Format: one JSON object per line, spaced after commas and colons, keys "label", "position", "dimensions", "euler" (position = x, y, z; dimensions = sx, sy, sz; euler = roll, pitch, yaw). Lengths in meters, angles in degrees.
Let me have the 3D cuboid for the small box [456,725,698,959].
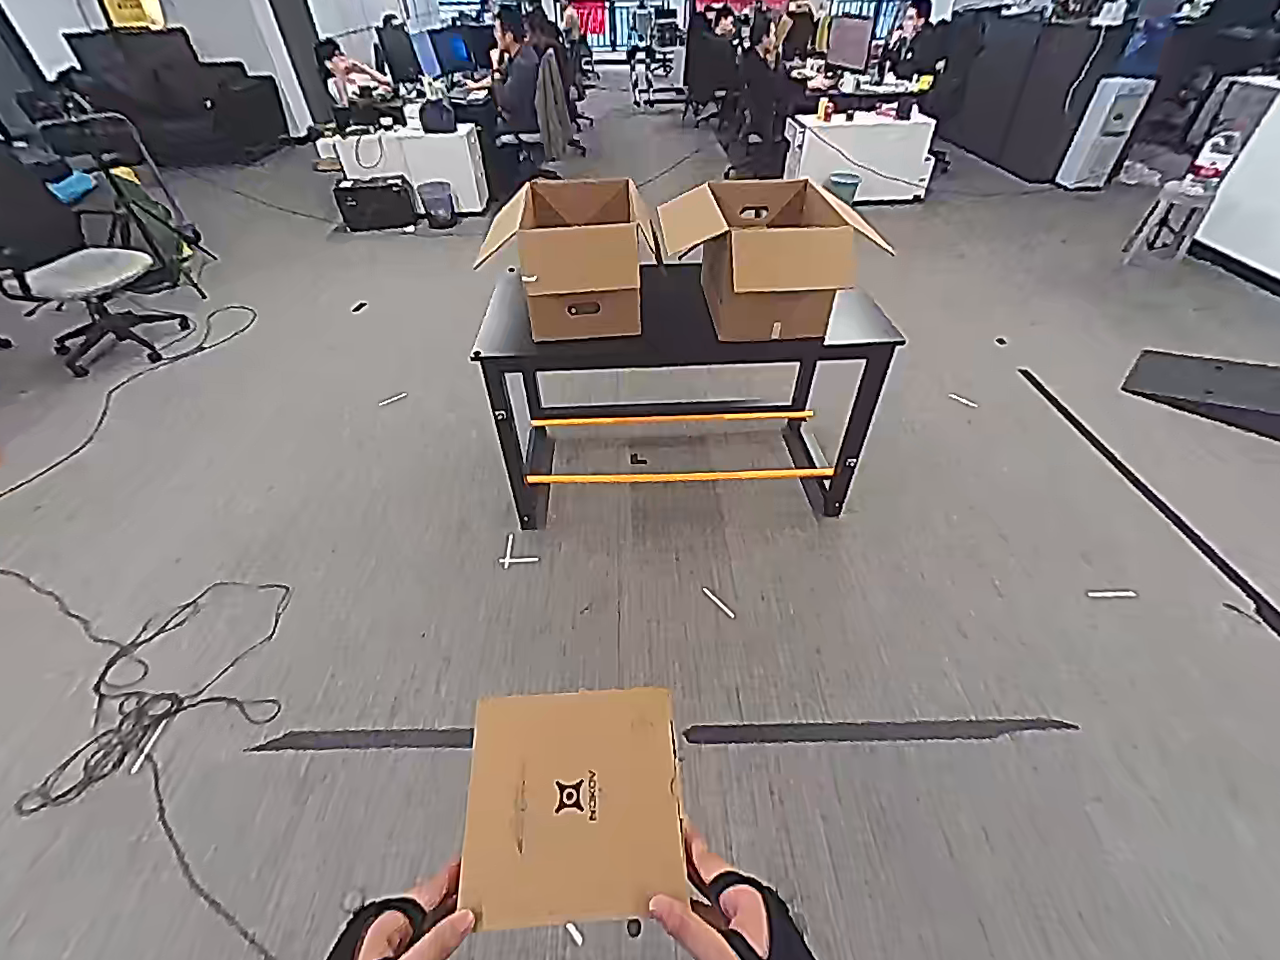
{"label": "small box", "position": [-0.051, 0.334, 0.493], "dimensions": [0.179, 0.176, 0.168], "euler": [-4, 53, -3]}
